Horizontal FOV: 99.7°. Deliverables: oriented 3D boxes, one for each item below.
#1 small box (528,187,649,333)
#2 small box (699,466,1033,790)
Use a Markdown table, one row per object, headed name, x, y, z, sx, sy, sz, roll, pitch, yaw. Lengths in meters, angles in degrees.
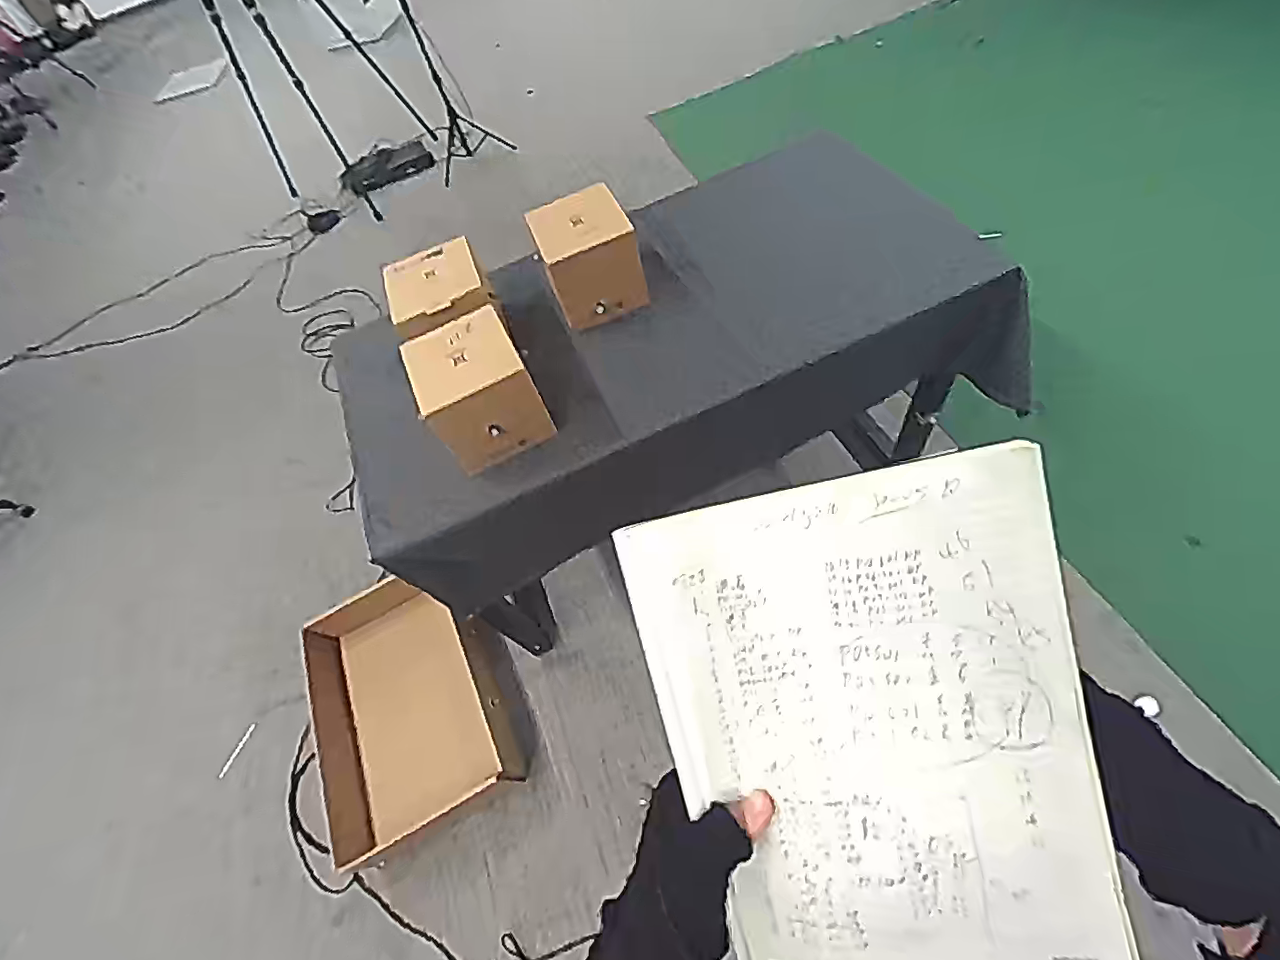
| name | x | y | z | sx | sy | sz | roll | pitch | yaw |
| --- | --- | --- | --- | --- | --- | --- | --- | --- | --- |
| small box | -0.096 | -0.419 | 1.041 | 0.168 | 0.176 | 0.179 | -22 | 57 | -1 |
| small box | 0.146 | 0.108 | 0.421 | 0.168 | 0.176 | 0.179 | -15 | 75 | 6 |
